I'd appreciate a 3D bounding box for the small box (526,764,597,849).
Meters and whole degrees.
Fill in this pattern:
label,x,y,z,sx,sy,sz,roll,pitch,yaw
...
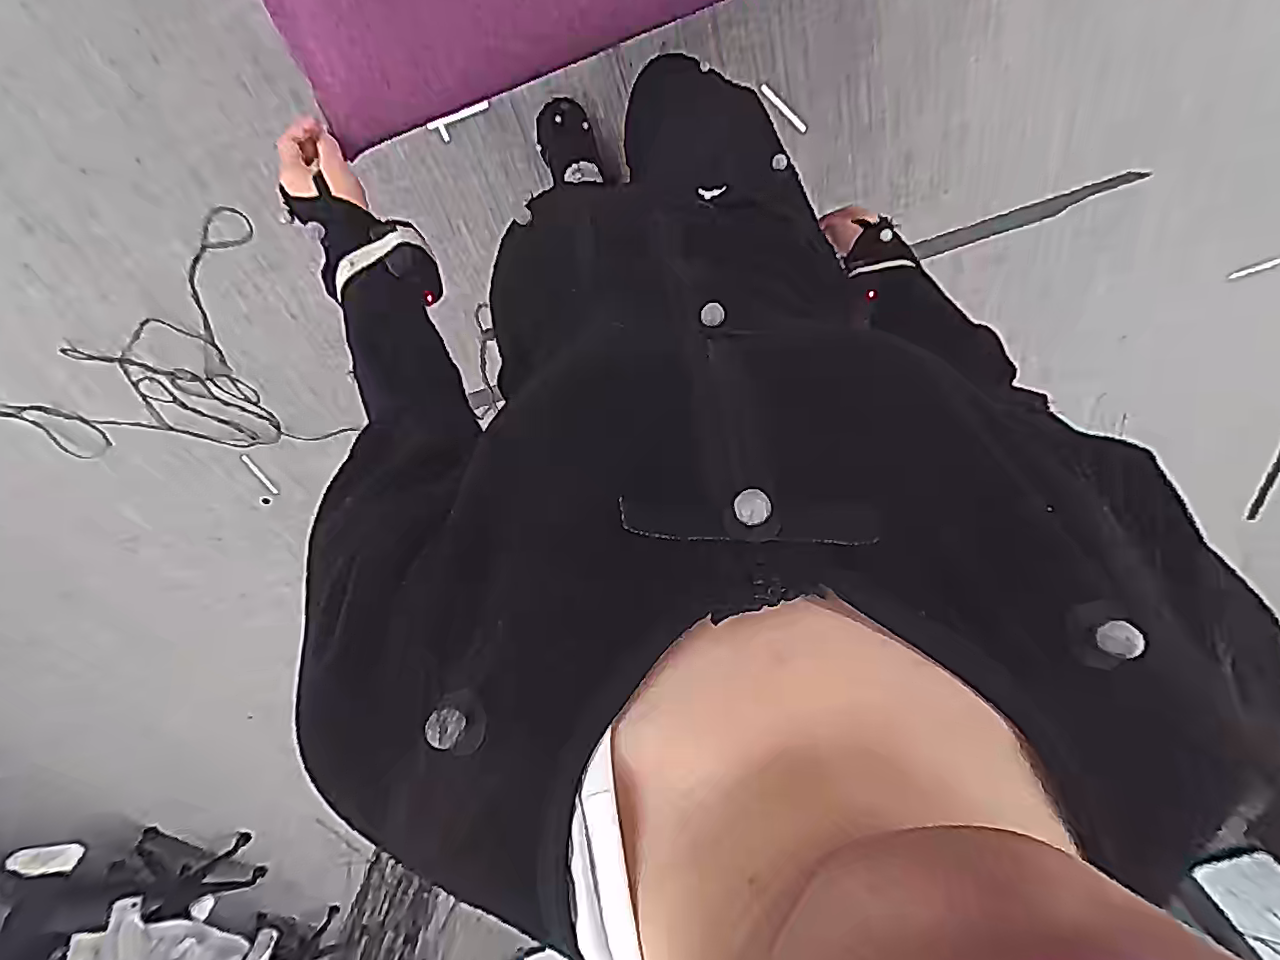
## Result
label,x,y,z,sx,sy,sz,roll,pitch,yaw
small box,-0.249,1.042,1.725,0.168,0.176,0.179,23,119,-23
